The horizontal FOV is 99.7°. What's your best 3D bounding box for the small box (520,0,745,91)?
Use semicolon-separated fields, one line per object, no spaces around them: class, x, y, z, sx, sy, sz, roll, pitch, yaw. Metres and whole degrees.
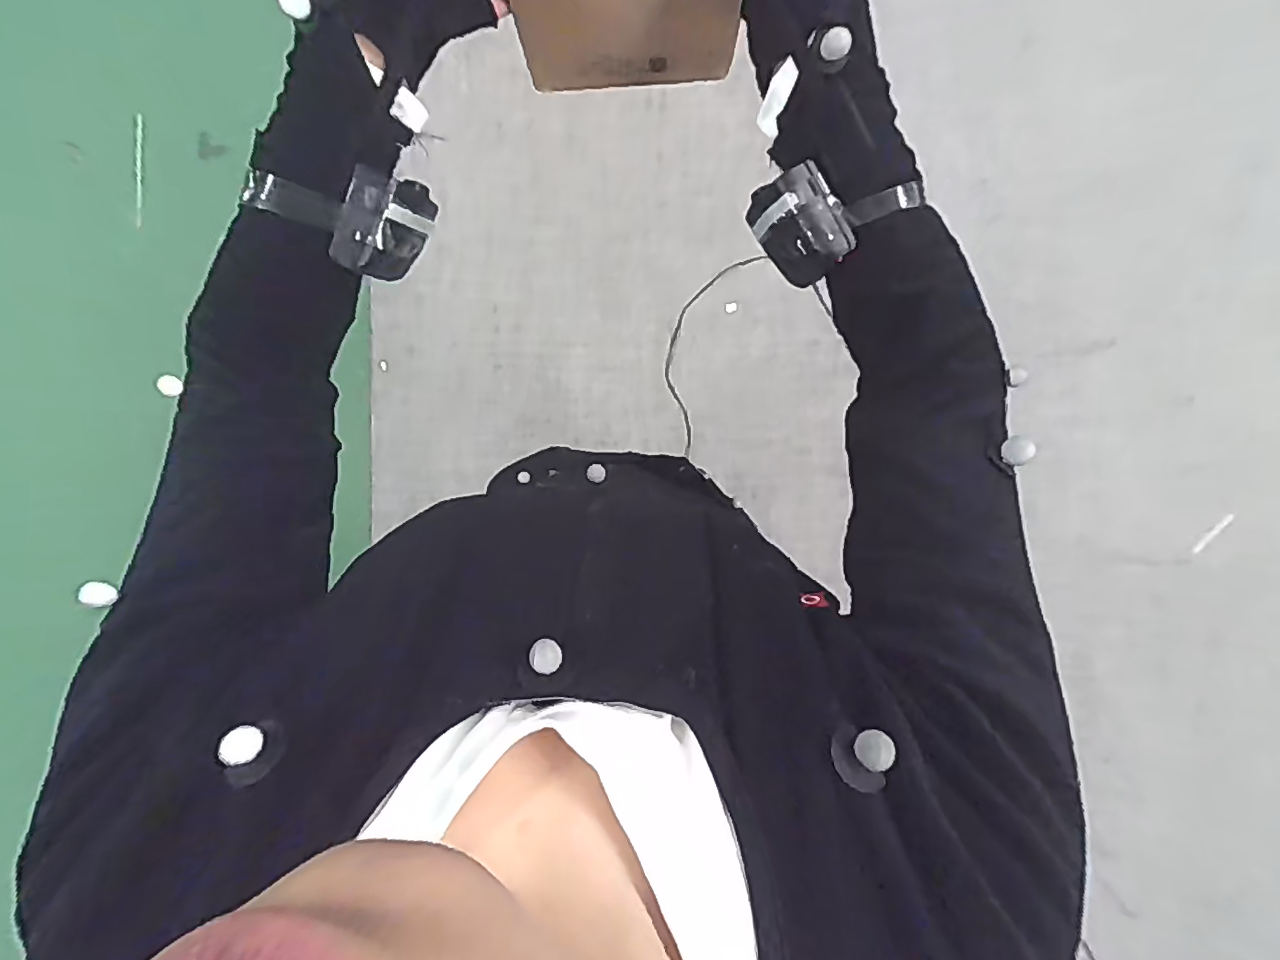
small box;-0.009;-0.422;0.381;0.168;0.176;0.179;-3;85;2
